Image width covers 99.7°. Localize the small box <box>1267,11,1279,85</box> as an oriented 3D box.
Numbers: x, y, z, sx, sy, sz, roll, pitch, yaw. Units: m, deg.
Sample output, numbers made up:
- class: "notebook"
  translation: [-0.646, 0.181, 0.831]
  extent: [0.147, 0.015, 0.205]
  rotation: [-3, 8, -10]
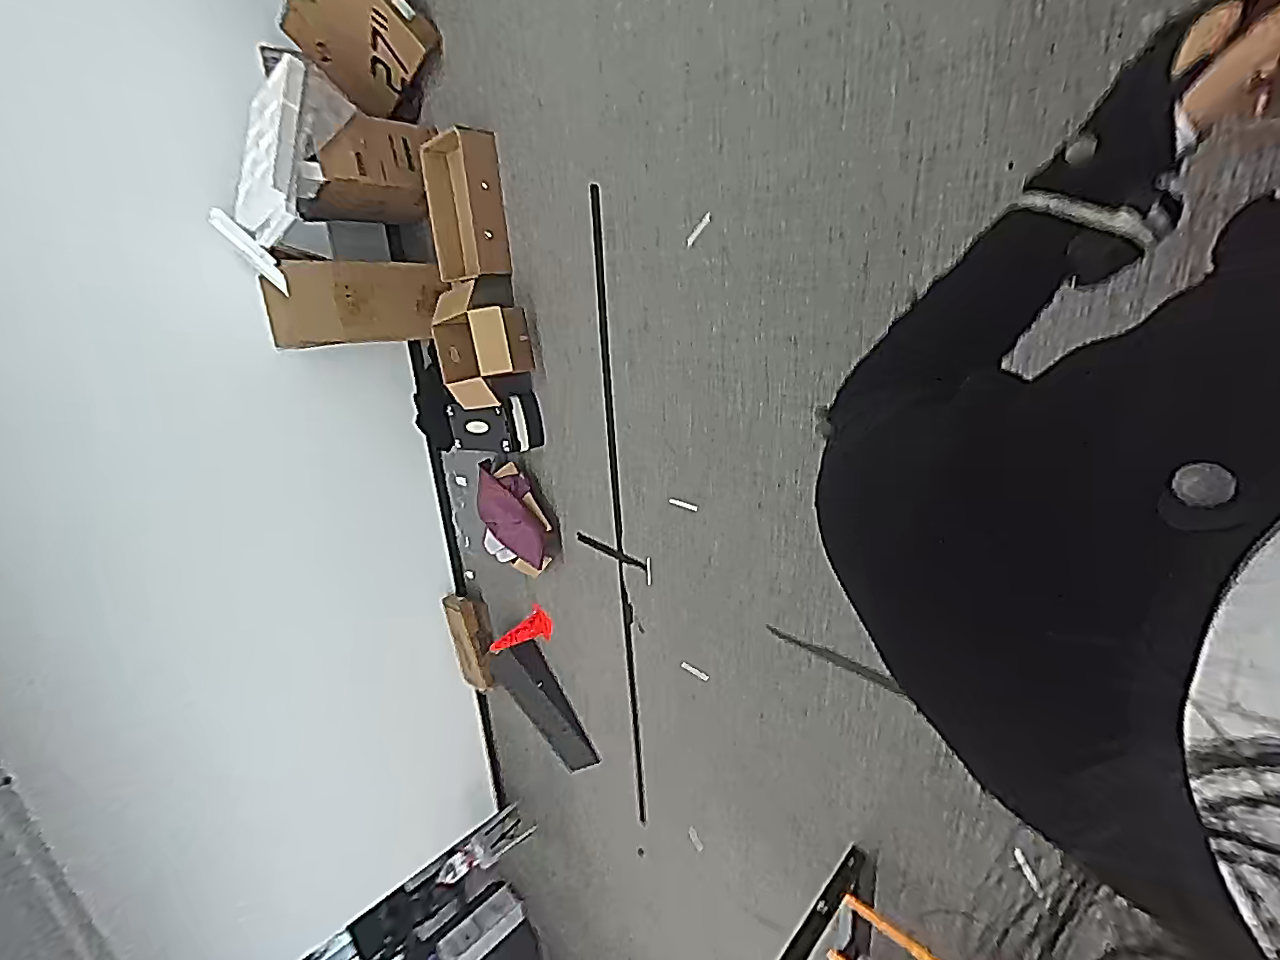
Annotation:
- class: "small box"
  translation: [0.492, -0.351, 0.291]
  extent: [0.168, 0.176, 0.179]
  rotation: [15, 112, 41]
